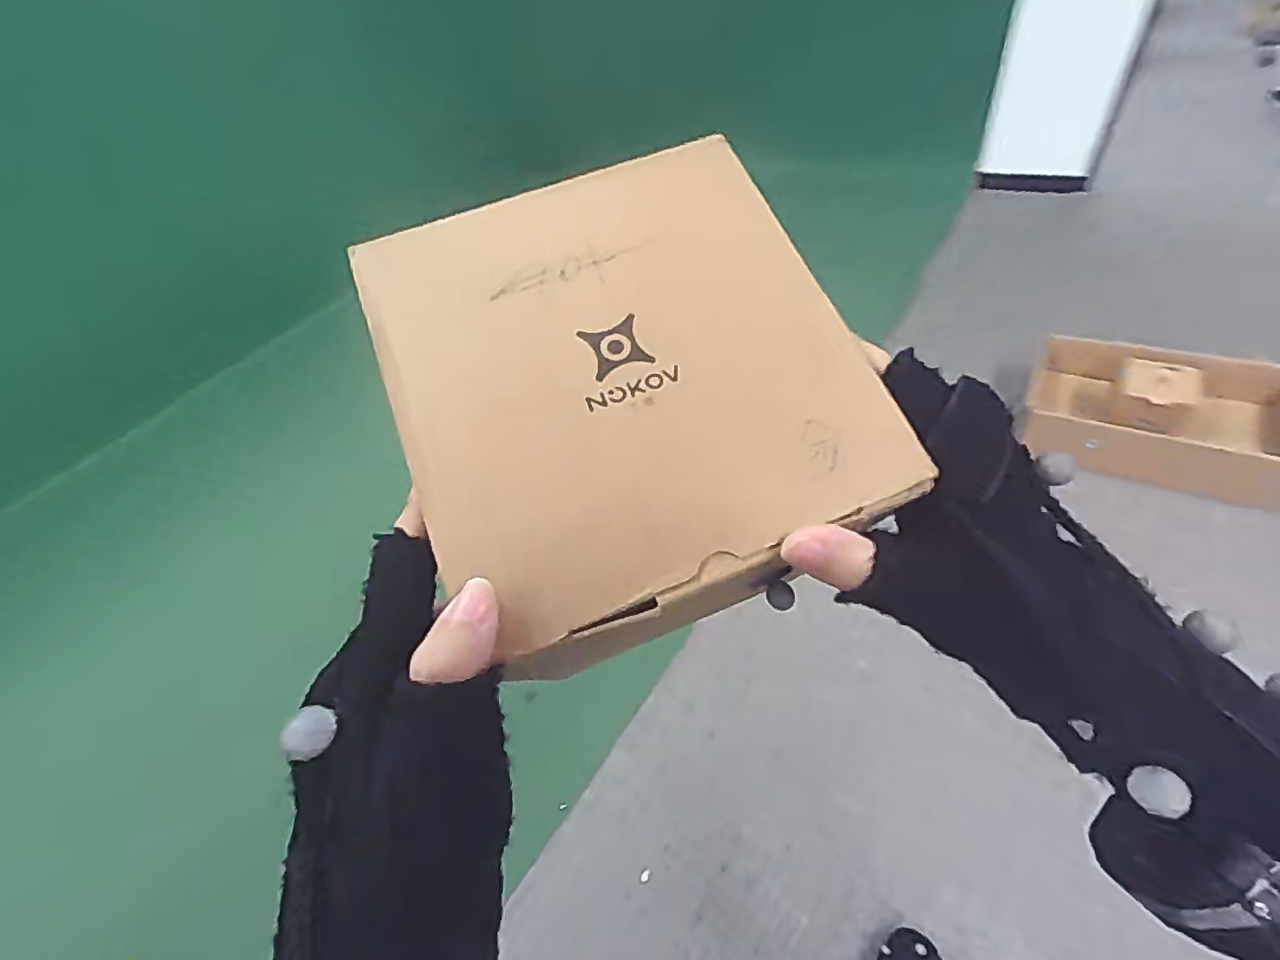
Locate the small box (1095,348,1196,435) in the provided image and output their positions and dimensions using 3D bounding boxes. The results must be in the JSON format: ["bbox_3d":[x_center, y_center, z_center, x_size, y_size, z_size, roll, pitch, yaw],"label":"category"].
[{"bbox_3d":[1.485,-0.259,1.596,0.168,0.176,0.179,20,58,29],"label":"small box"}]
